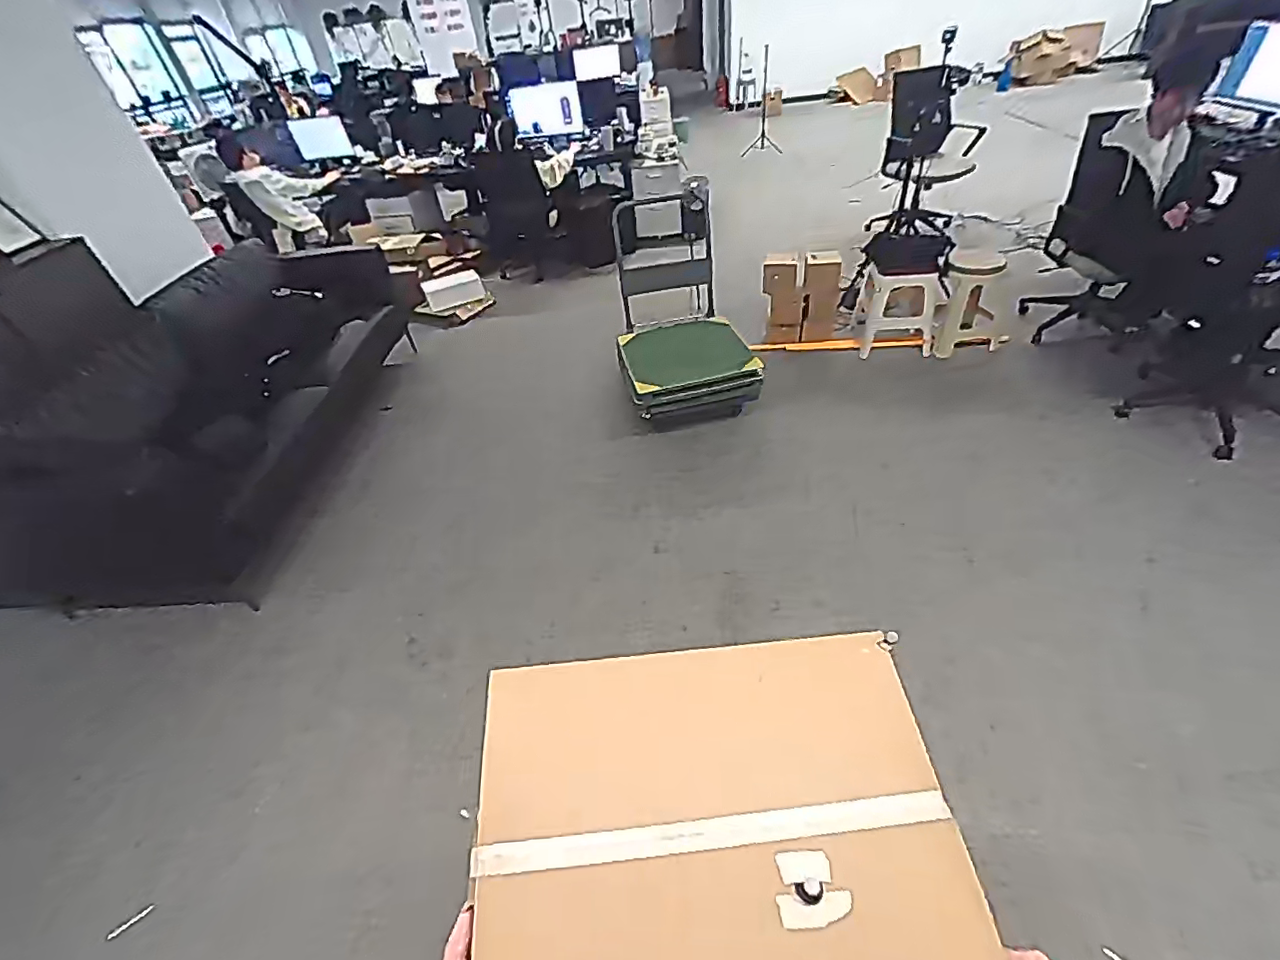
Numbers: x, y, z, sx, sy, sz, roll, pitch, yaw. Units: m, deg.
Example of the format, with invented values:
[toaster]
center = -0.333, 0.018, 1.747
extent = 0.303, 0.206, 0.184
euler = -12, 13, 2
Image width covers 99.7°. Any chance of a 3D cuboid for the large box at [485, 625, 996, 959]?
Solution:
[large box]
center = 0.066, 0.384, 0.598
extent = 0.408, 0.320, 0.320
euler = -5, 55, -3
